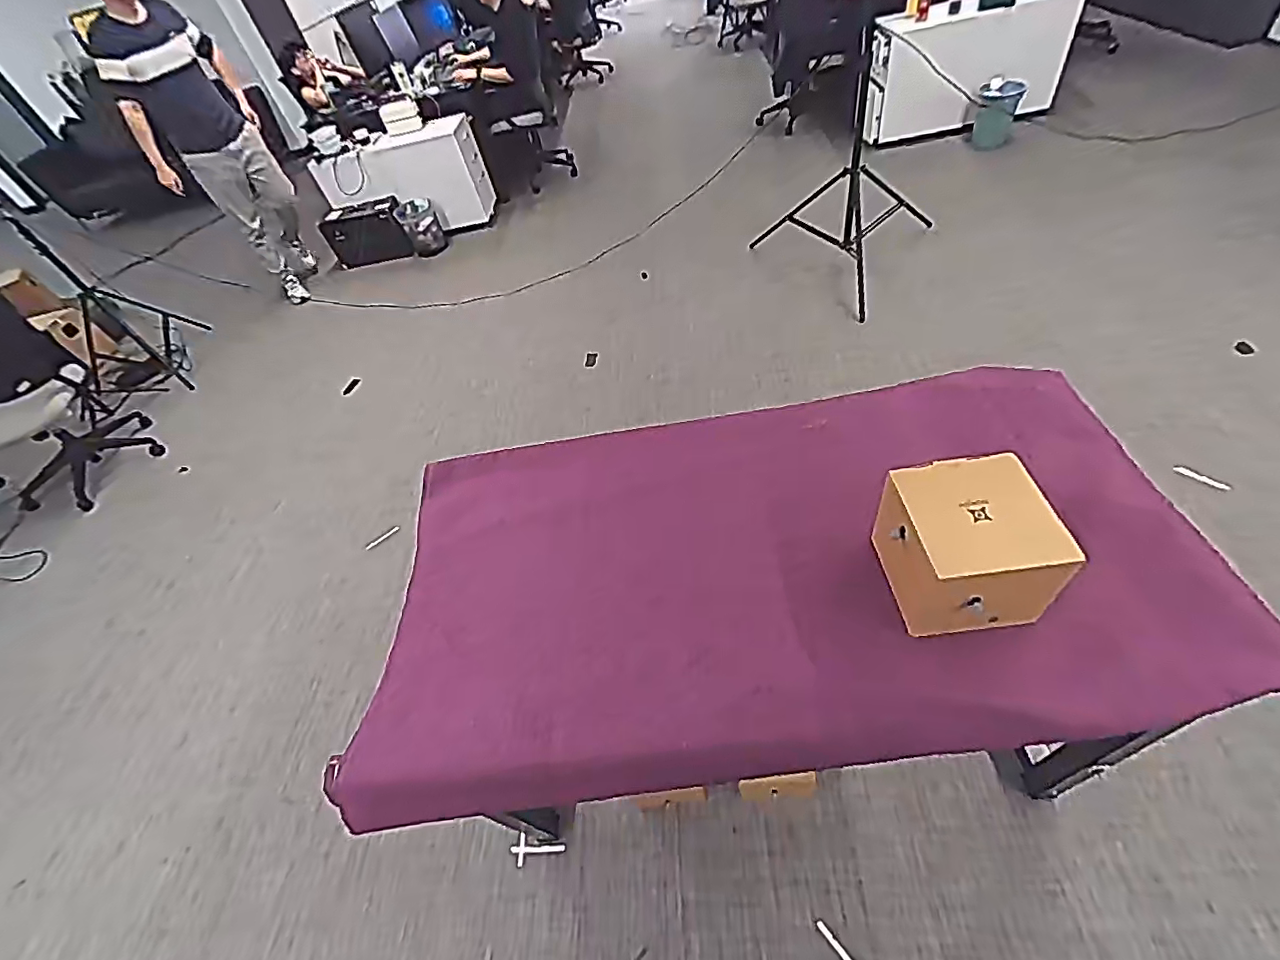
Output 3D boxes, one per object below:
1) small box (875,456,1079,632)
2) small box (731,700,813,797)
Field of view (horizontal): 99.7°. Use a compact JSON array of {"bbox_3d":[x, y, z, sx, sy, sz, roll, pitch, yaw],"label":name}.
[{"bbox_3d":[0.441,0.095,0.745,0.168,0.176,0.179,-9,48,6],"label":"small box"},{"bbox_3d":[0.310,0.642,1.284,0.168,0.176,0.179,-6,48,8],"label":"small box"}]
